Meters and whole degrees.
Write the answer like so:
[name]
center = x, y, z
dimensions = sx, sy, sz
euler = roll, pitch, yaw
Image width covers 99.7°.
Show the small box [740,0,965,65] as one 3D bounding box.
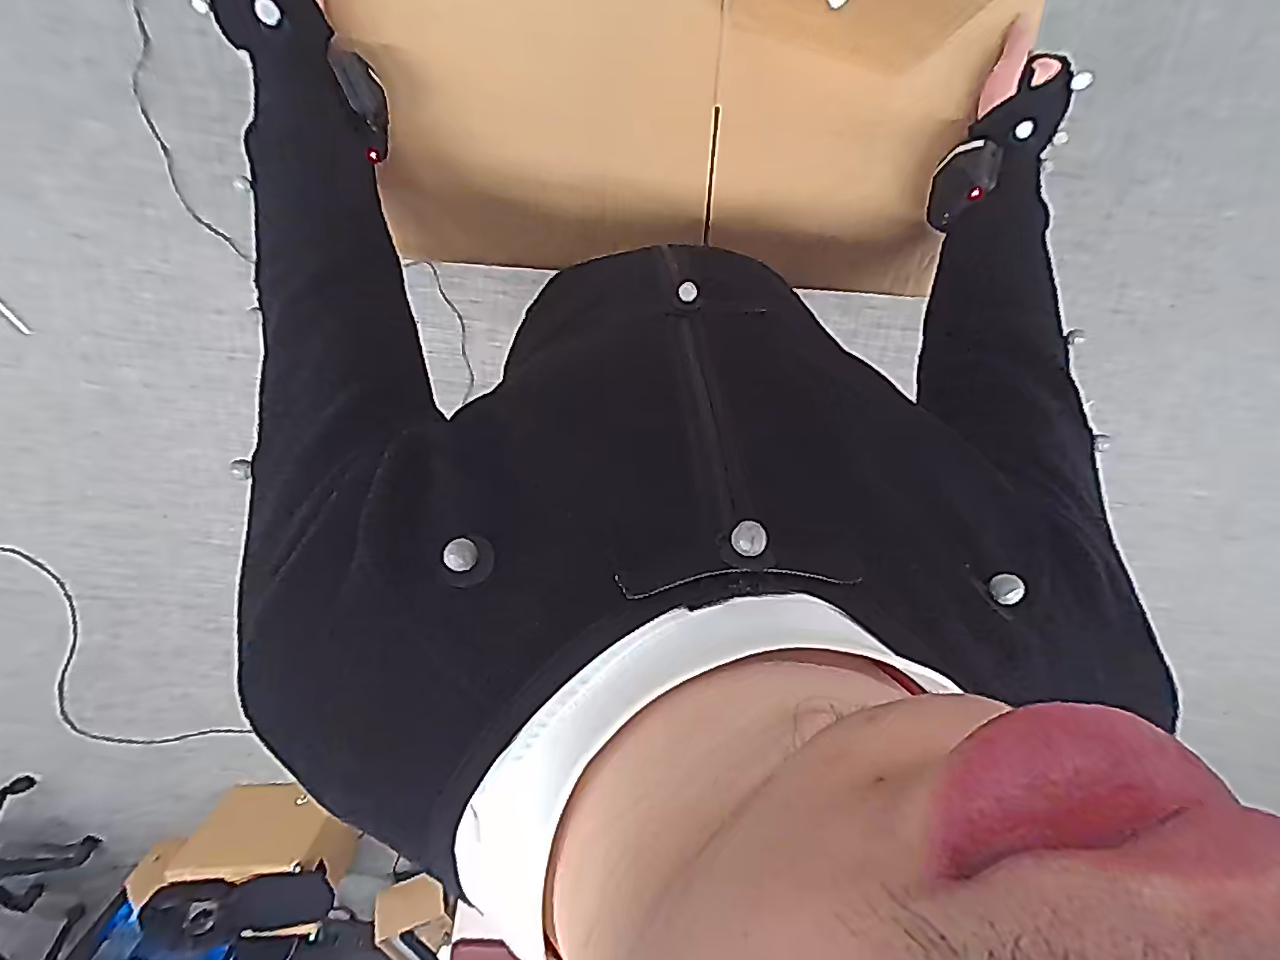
[small box]
center = 0.191, -0.463, 0.415
dimensions = 0.179, 0.176, 0.168
euler = 14, 107, -5
